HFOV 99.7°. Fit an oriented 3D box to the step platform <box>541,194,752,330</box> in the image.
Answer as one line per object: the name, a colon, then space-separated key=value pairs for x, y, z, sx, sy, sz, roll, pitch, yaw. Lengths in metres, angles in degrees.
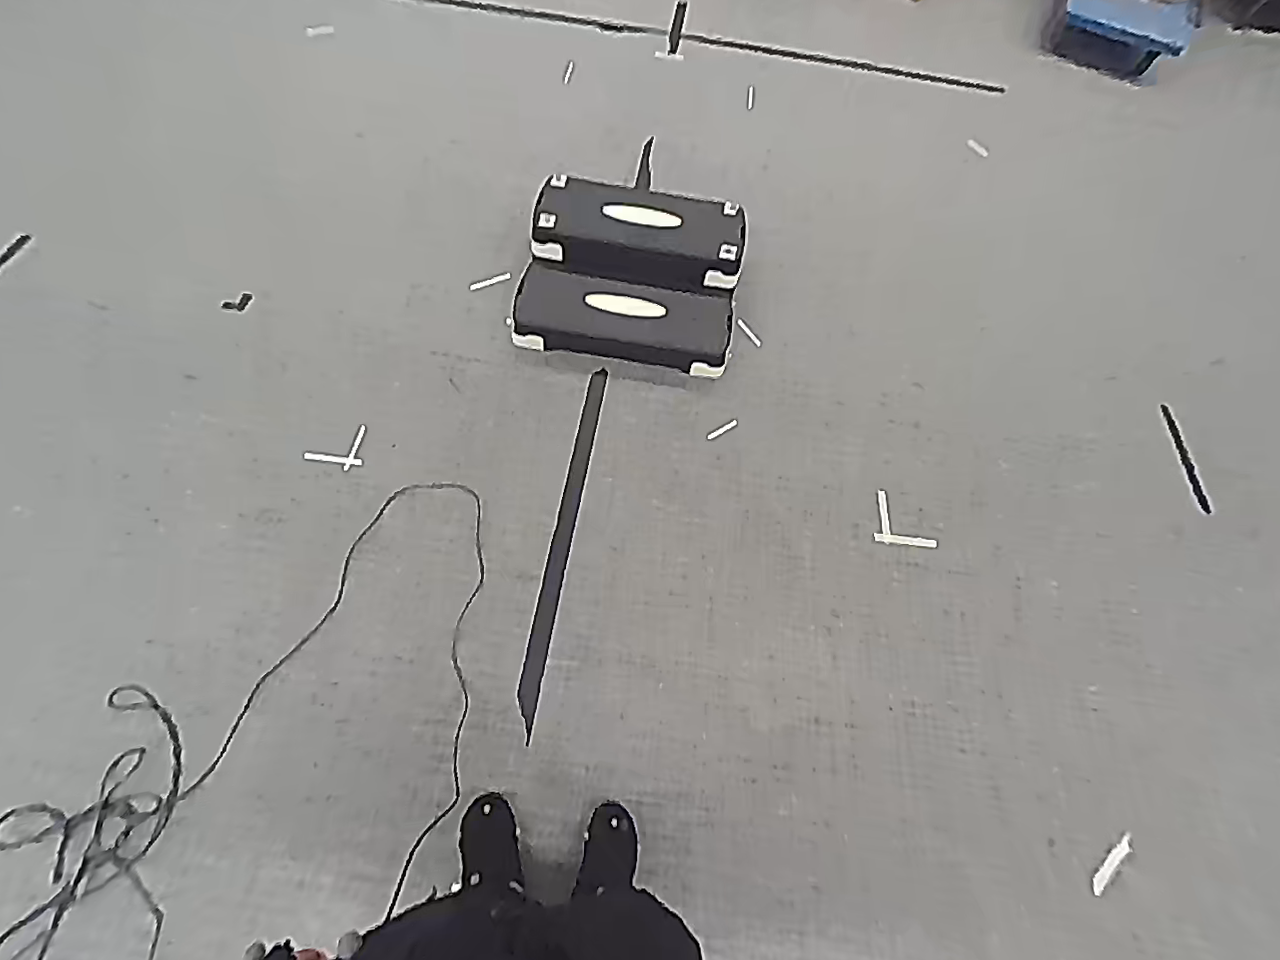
step platform: x=0.023 y=-0.729 z=1.801 sx=0.684 sy=0.204 sz=0.286 roll=13 pitch=62 yaw=1
